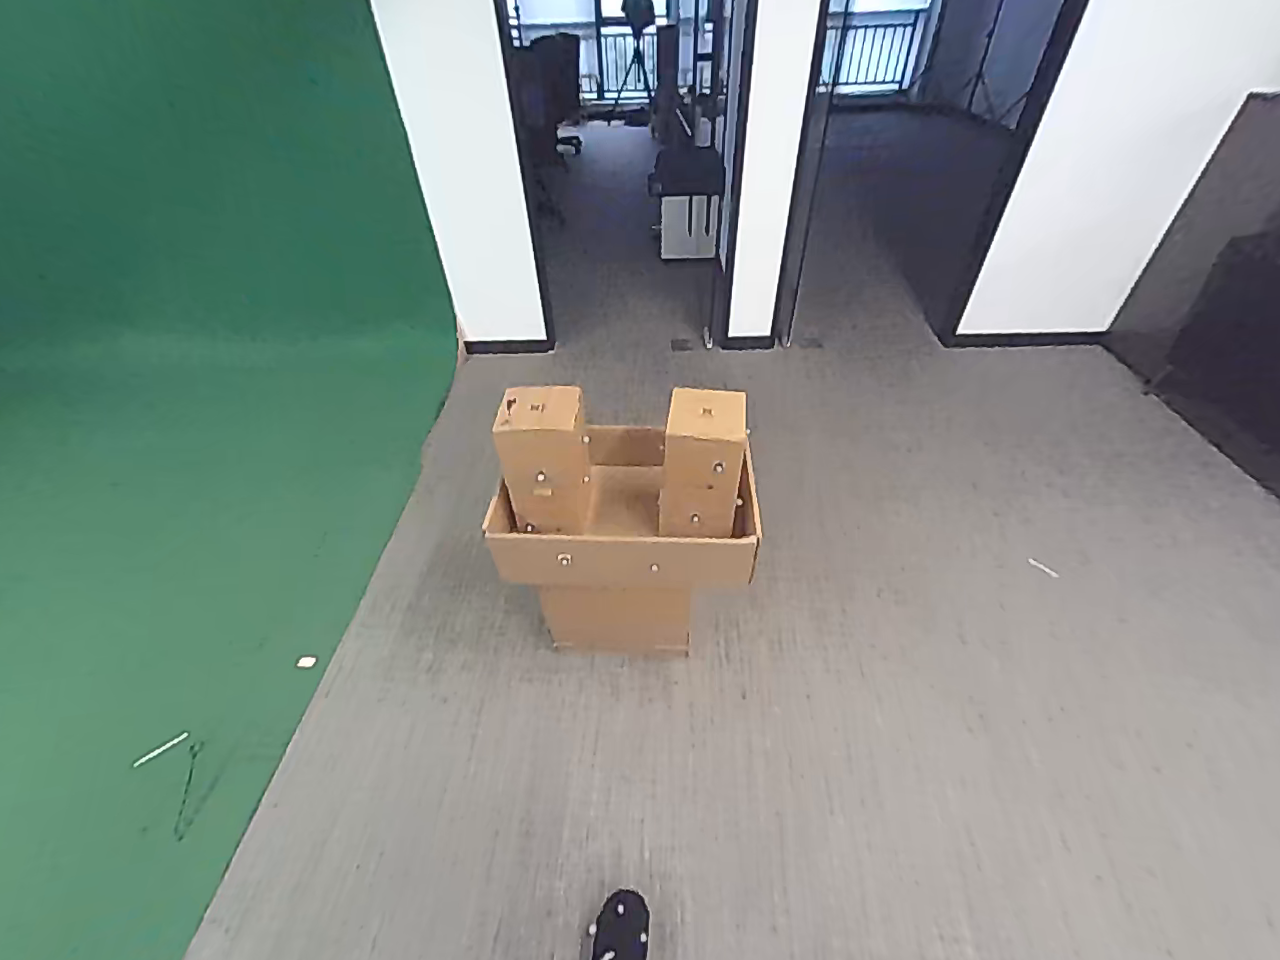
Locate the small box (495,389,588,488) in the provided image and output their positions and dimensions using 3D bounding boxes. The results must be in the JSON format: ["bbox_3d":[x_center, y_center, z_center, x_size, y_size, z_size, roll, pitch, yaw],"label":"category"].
[{"bbox_3d":[-0.217,-0.094,1.248,0.179,0.176,0.168,0,42,2],"label":"small box"}]

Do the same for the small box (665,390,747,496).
[{"bbox_3d":[0.149,-0.082,1.220,0.168,0.176,0.179,6,42,7],"label":"small box"}]
